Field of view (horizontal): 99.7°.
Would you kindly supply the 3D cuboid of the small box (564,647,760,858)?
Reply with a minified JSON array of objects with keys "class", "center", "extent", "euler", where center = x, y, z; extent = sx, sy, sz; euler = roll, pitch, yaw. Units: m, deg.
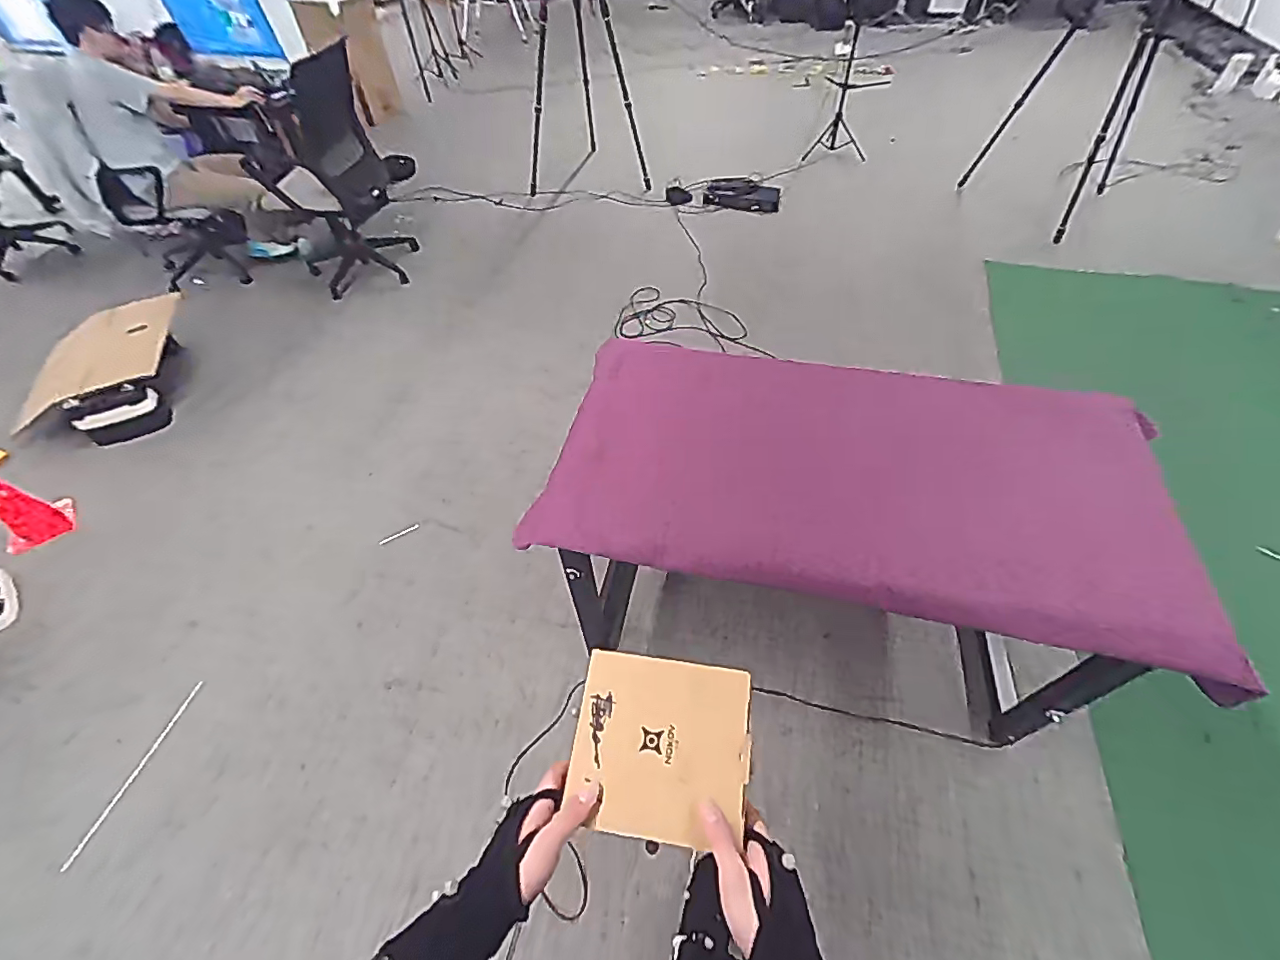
[{"class":"small box","center":[0.030,0.301,0.604],"extent":[0.179,0.176,0.168],"euler":[7,59,7]}]
